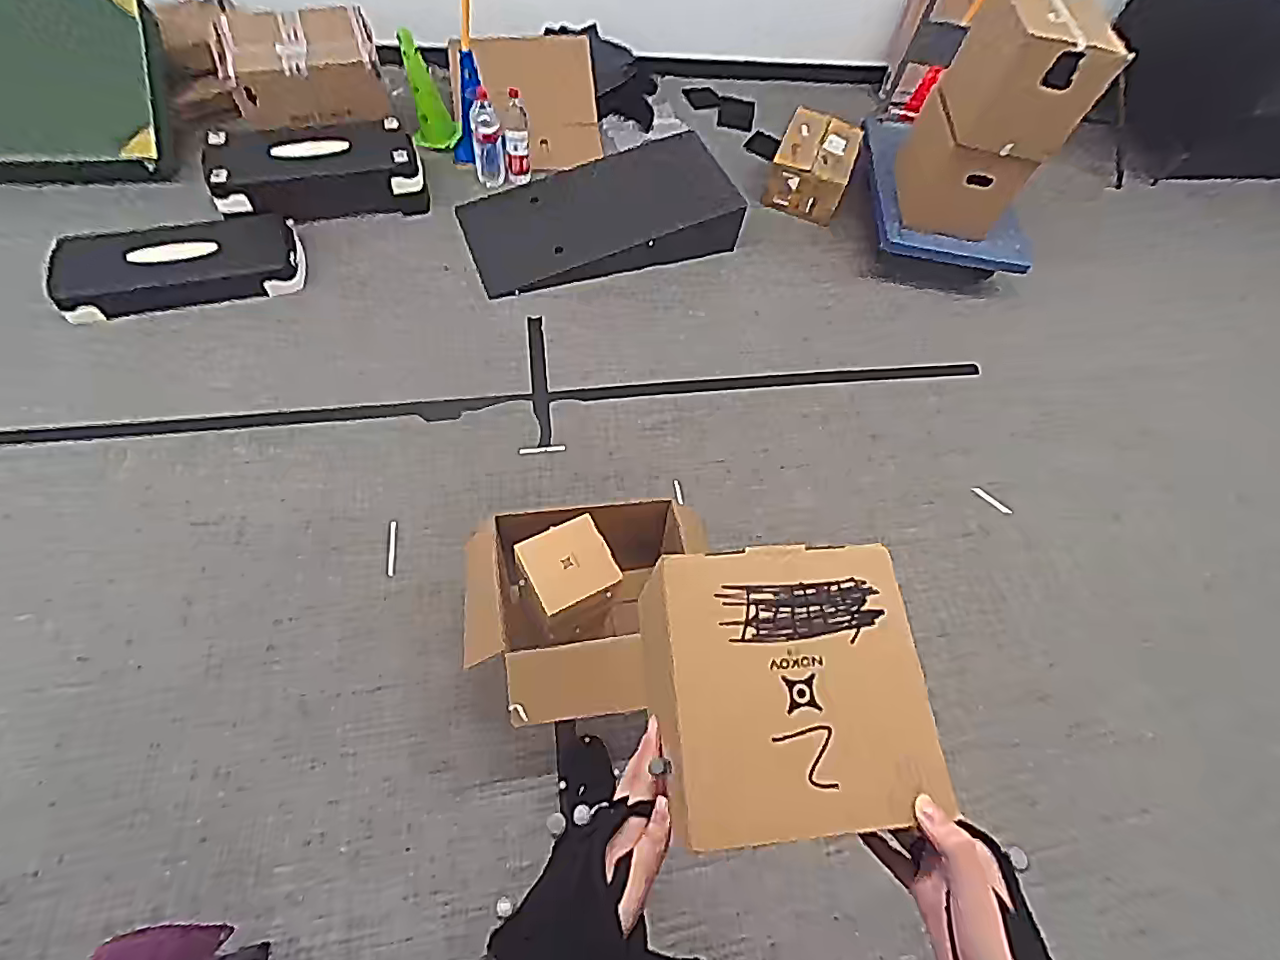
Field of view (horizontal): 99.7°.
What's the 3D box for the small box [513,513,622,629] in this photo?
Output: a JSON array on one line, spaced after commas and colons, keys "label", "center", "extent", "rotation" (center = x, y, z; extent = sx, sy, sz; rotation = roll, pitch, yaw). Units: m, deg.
[{"label": "small box", "center": [-0.162, 0.203, 1.181], "extent": [0.179, 0.176, 0.168], "rotation": [-24, 70, -22]}]
